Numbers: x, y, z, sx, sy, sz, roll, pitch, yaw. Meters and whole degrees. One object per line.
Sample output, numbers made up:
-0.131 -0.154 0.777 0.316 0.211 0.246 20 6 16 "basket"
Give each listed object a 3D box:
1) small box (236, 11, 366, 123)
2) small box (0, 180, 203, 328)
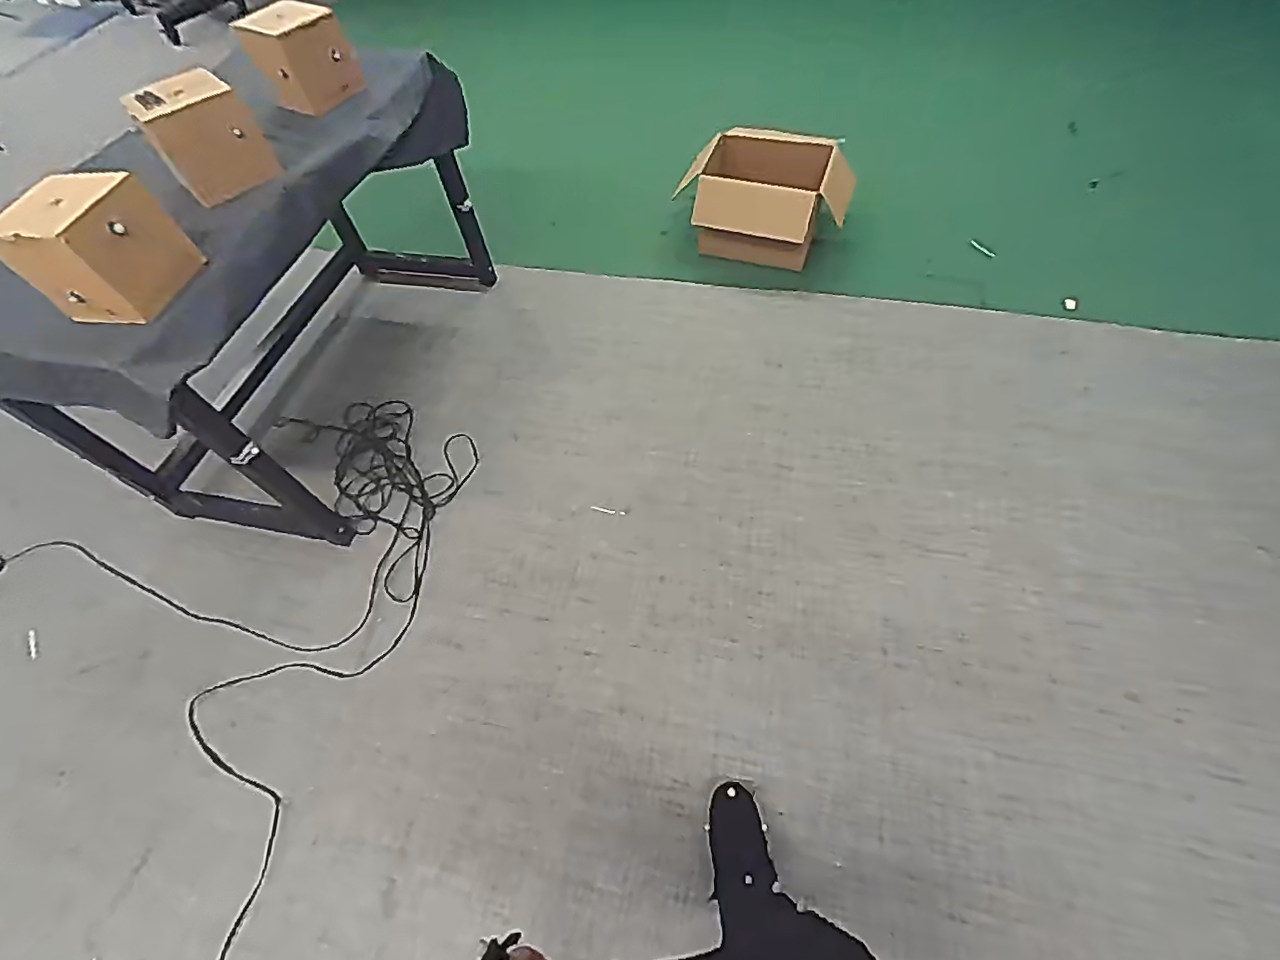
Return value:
-0.822 -1.011 1.329 0.179 0.176 0.168 25 61 20 "small box"
-0.913 -0.387 0.929 0.168 0.176 0.179 4 58 10 "small box"
